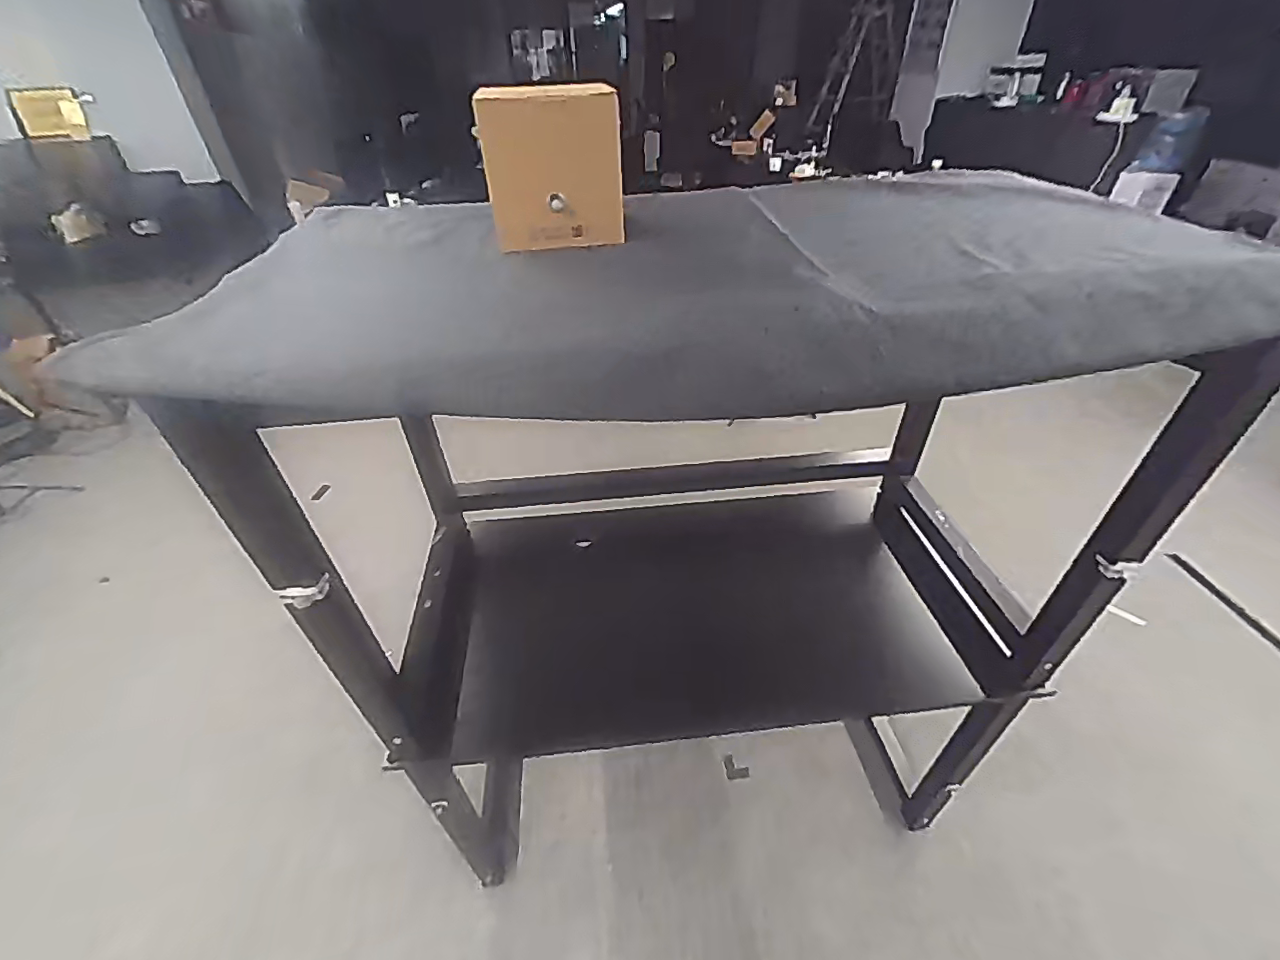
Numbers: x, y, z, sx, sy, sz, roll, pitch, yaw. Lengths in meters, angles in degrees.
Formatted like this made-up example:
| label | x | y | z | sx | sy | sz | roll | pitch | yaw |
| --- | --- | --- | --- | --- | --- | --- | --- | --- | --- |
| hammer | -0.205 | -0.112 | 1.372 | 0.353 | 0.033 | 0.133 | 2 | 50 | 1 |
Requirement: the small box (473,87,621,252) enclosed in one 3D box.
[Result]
| label | x | y | z | sx | sy | sz | roll | pitch | yaw |
| --- | --- | --- | --- | --- | --- | --- | --- | --- | --- |
| small box | -0.118 | -0.419 | 0.728 | 0.168 | 0.176 | 0.179 | -7 | 40 | -6 |
